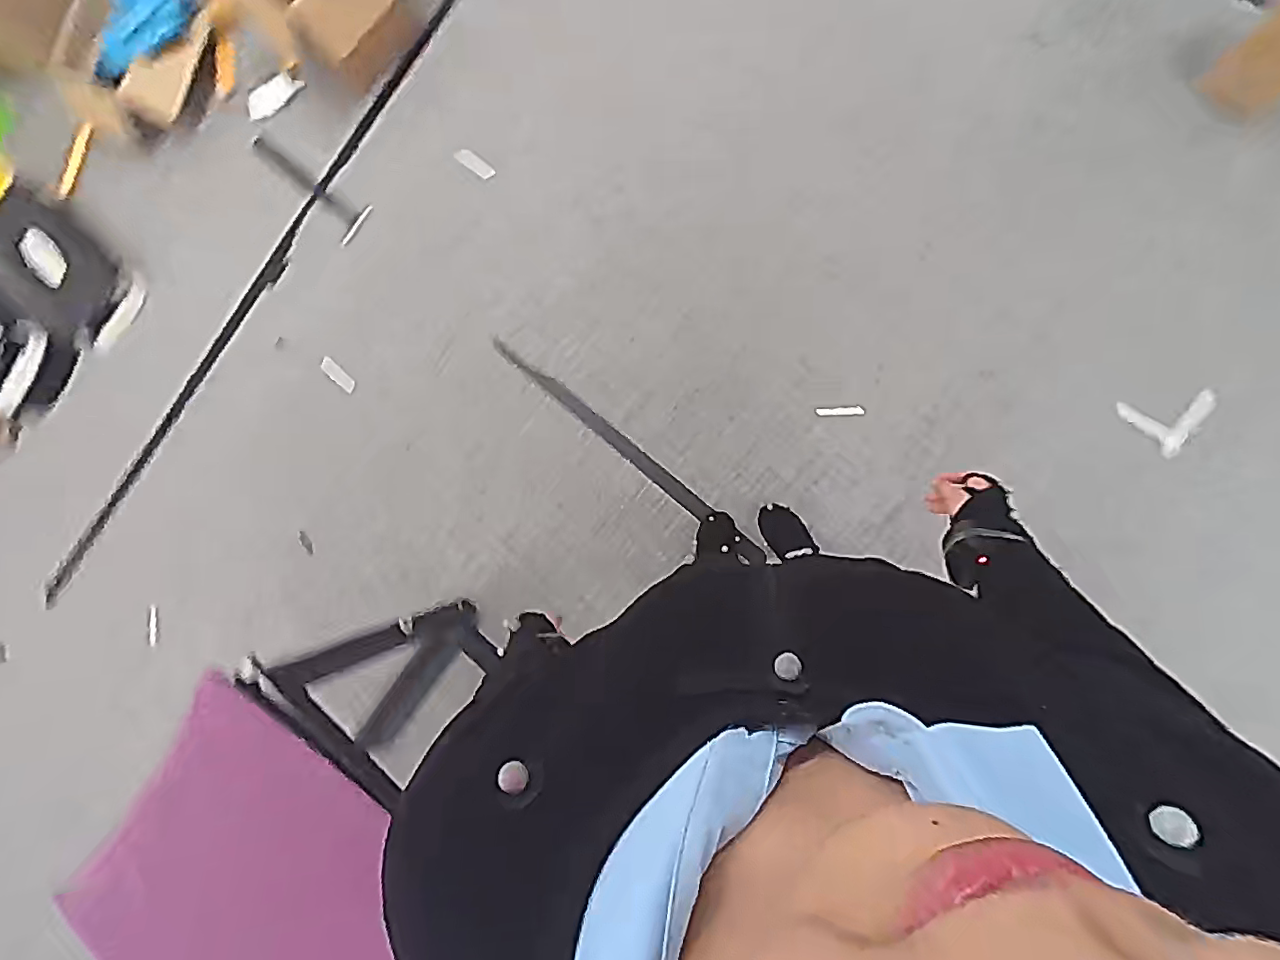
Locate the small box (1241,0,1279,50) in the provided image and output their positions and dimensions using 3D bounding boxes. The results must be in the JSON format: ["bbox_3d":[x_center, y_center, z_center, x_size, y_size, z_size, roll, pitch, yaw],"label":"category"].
[{"bbox_3d":[1.404,-0.996,1.080,0.179,0.176,0.168,32,93,12],"label":"small box"}]

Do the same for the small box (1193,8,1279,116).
[{"bbox_3d":[1.446,-0.992,1.237,0.168,0.176,0.179,41,95,10],"label":"small box"}]
